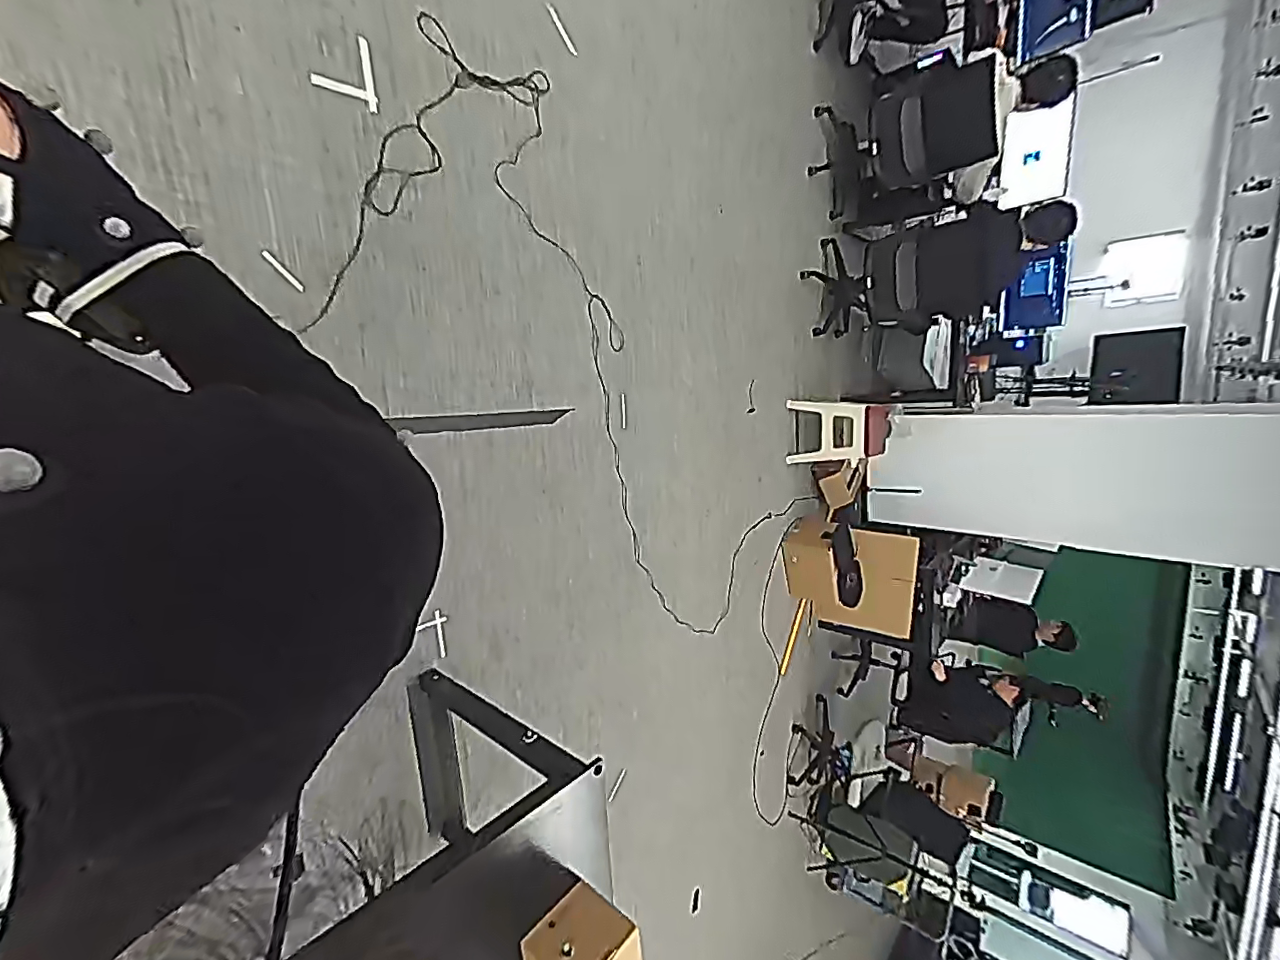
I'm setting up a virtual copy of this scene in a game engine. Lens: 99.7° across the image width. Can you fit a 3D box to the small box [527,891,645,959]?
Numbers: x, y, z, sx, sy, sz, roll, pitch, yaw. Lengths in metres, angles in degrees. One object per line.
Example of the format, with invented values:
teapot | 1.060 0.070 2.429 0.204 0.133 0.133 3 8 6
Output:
small box | -0.105 0.968 1.070 0.168 0.176 0.179 -19 109 -44
